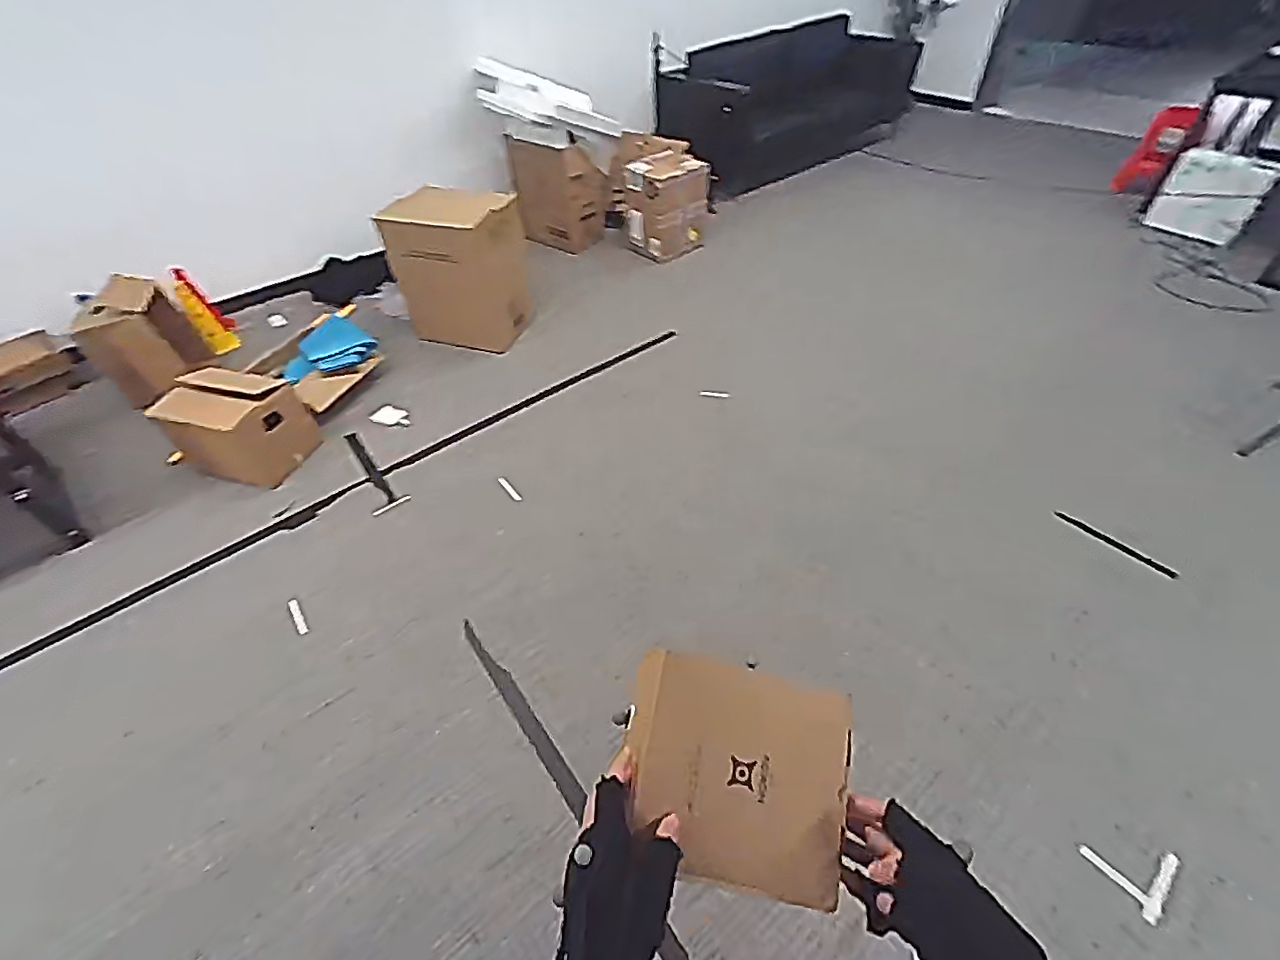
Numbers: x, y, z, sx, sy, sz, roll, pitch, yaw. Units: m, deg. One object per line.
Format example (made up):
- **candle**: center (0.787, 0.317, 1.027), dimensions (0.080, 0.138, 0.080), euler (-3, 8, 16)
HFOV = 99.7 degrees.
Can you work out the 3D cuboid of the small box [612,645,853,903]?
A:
- **small box**: center (0.078, 0.264, 0.519), dimensions (0.179, 0.176, 0.168), euler (13, 68, -2)
